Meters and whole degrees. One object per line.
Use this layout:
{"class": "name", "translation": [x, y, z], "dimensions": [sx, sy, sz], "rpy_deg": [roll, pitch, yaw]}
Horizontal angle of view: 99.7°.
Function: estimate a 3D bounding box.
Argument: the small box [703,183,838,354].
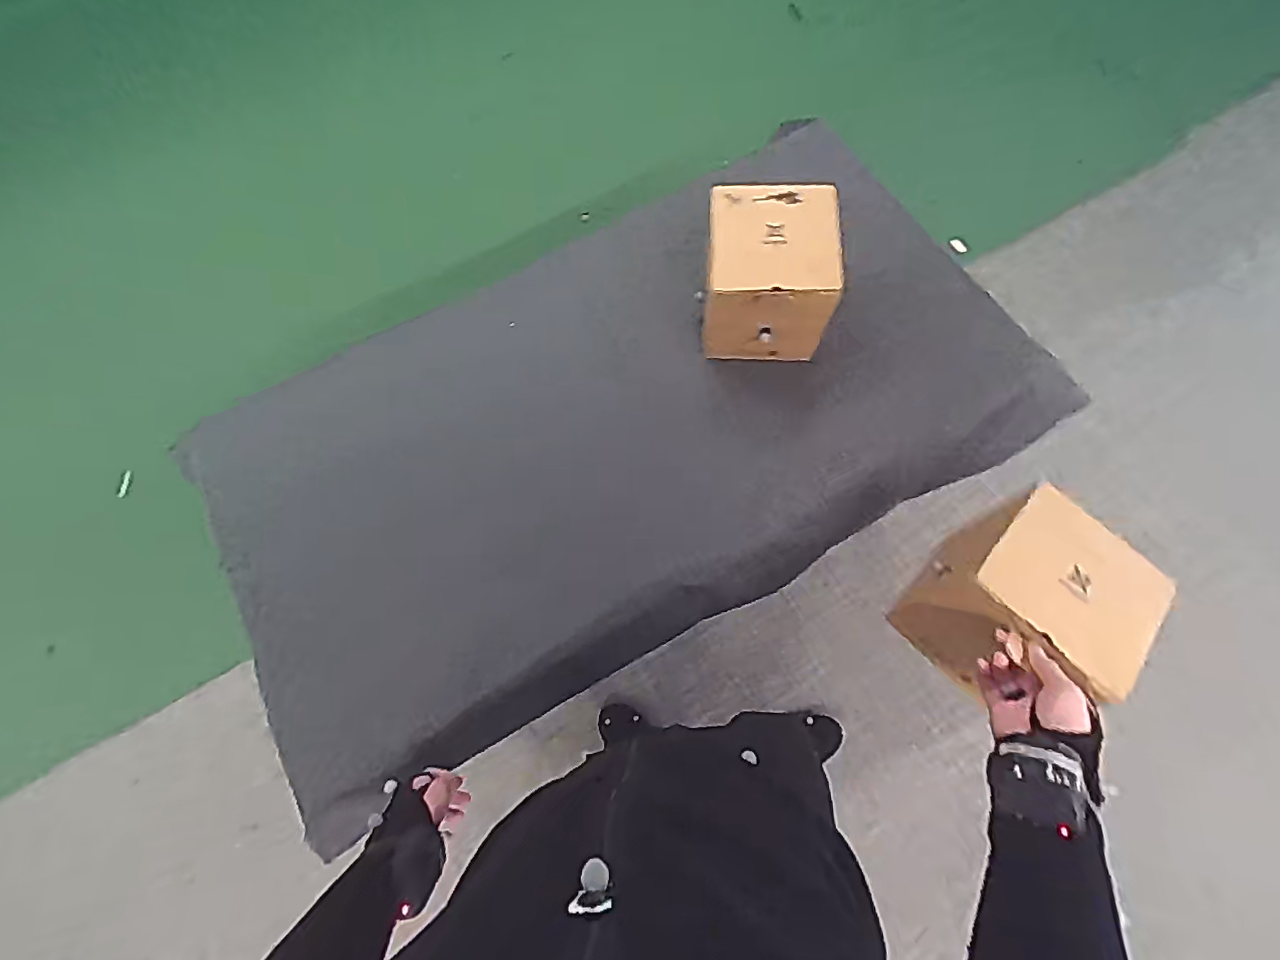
{"class": "small box", "translation": [0.182, -0.300, 0.793], "dimensions": [0.168, 0.176, 0.179], "rpy_deg": [2, 73, 3]}
